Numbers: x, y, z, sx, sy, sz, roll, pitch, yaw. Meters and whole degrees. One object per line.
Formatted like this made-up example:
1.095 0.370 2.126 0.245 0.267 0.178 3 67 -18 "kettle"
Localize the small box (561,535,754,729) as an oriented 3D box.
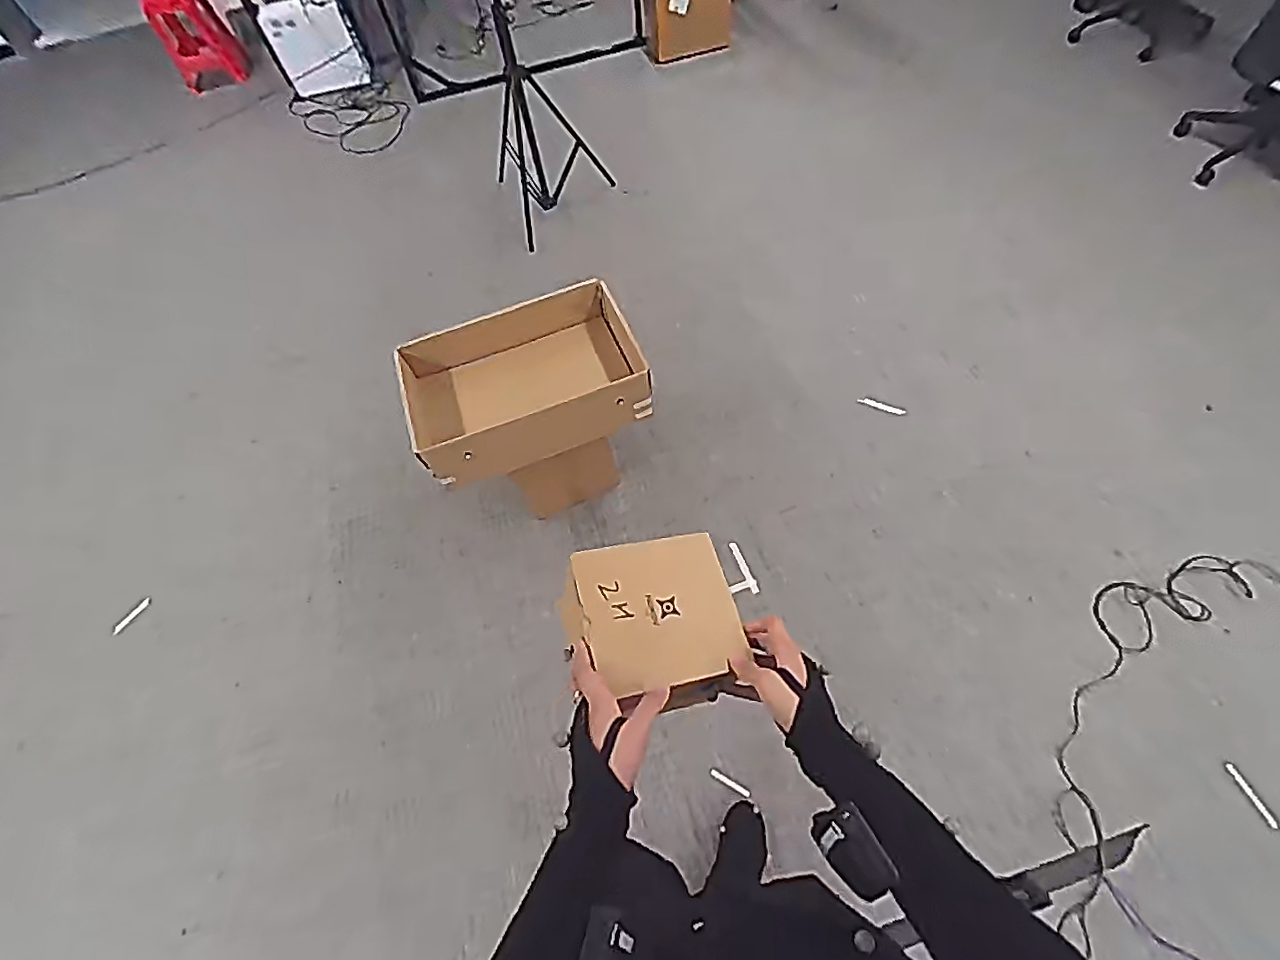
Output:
0.007 0.186 0.655 0.179 0.176 0.168 -7 58 -17 "small box"
